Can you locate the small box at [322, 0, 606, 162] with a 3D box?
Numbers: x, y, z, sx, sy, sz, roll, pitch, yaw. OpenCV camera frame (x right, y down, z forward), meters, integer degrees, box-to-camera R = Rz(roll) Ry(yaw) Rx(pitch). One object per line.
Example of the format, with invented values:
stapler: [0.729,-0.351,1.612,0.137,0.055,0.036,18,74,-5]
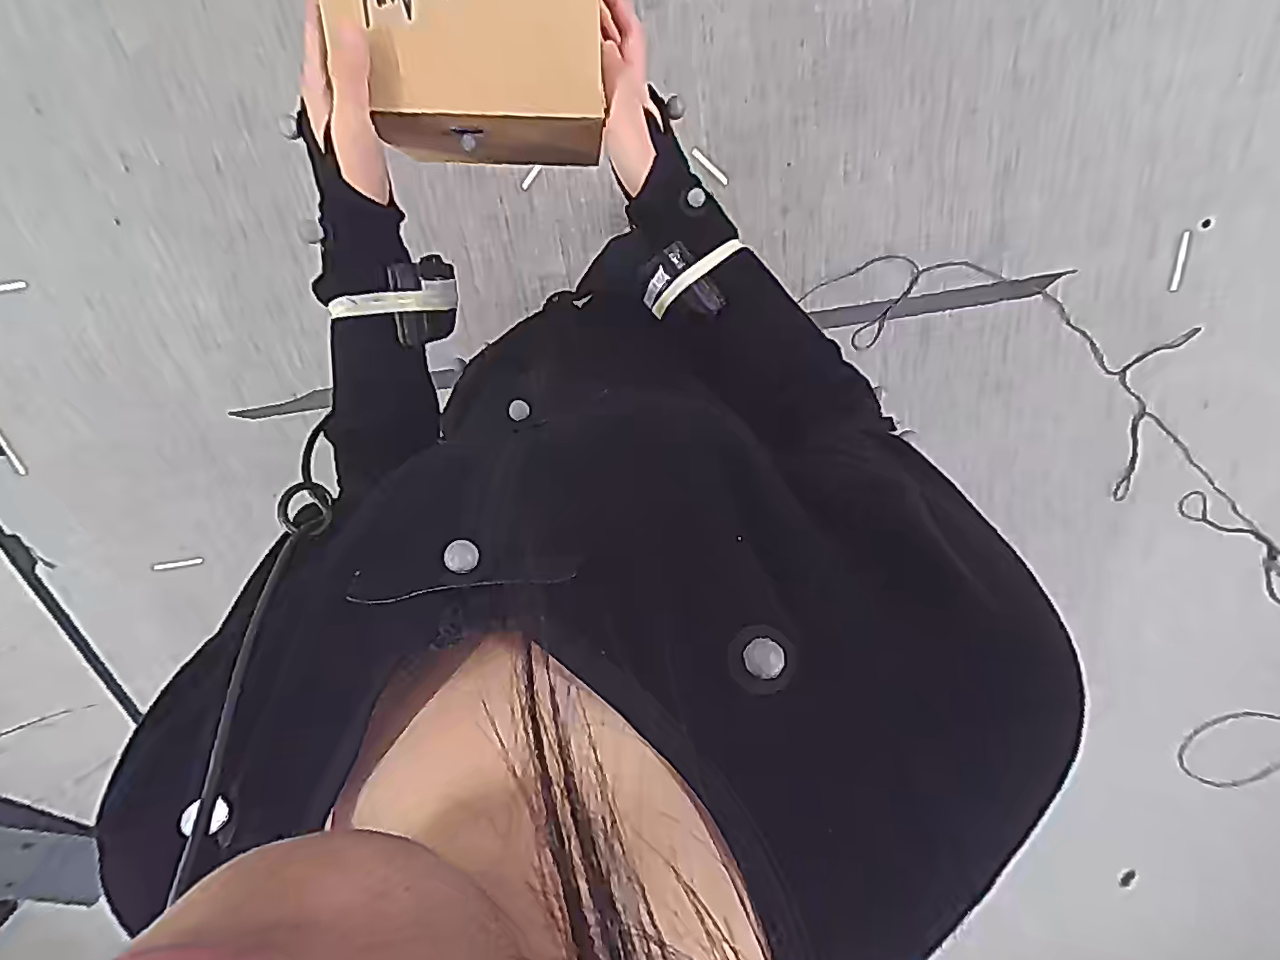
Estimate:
small box: [-0.114,-0.347,0.401,0.179,0.176,0.168,-1,111,-6]

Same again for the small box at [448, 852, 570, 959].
small box: [-0.236,0.845,1.024,0.179,0.176,0.168,-8,114,1]
